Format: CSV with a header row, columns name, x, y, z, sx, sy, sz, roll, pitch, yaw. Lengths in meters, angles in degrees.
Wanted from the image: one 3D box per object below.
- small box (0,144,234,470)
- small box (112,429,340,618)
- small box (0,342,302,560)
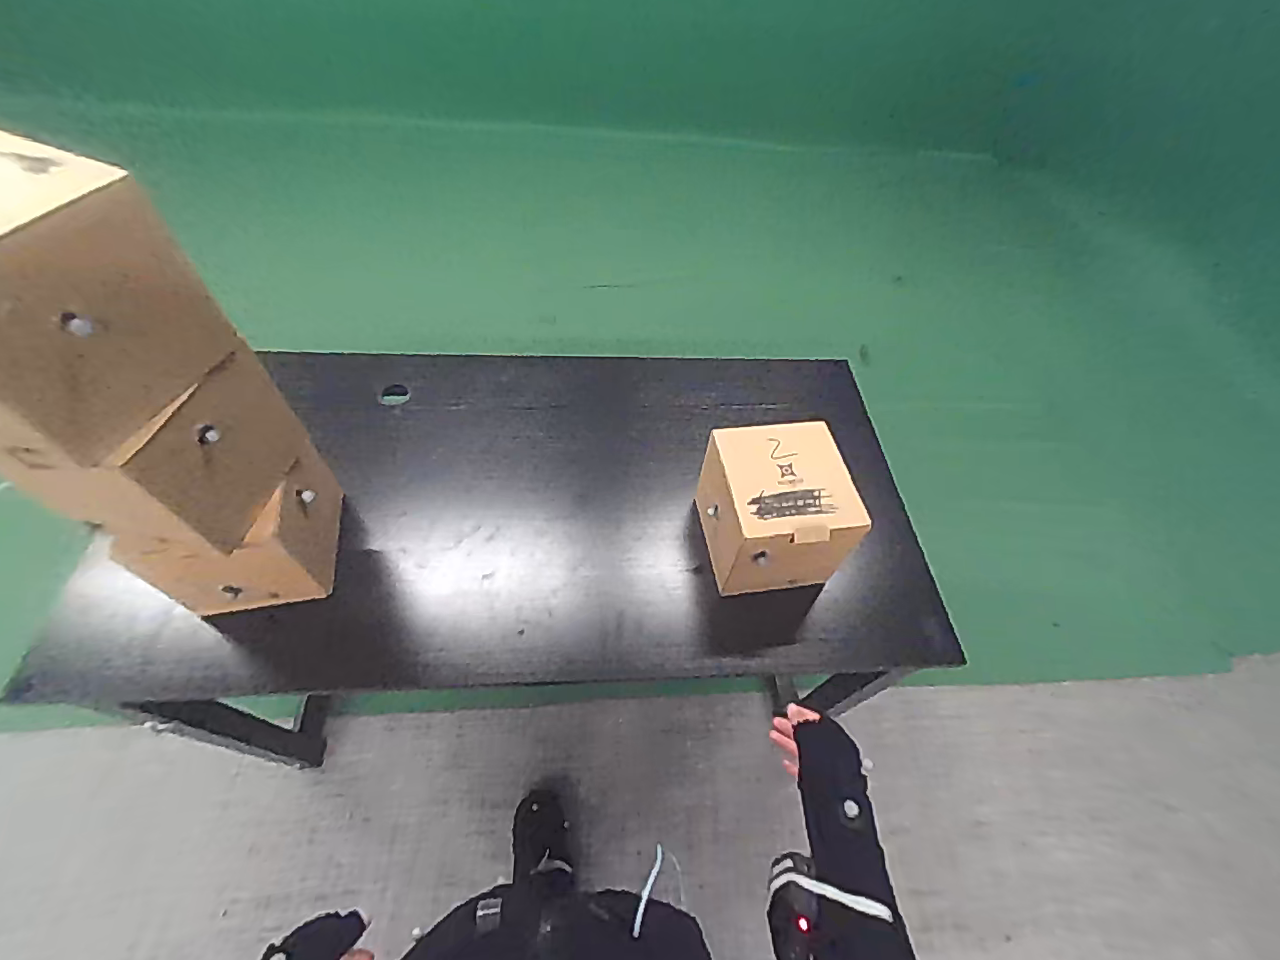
name,x,y,z,sx,sy,sz,roll,pitch,yaw
small box,-0.490,-0.136,0.436,0.168,0.176,0.179,20,57,7
small box,-0.509,0.058,0.702,0.168,0.176,0.179,-7,57,-11
small box,-0.500,-0.037,0.567,0.168,0.176,0.179,10,54,1
